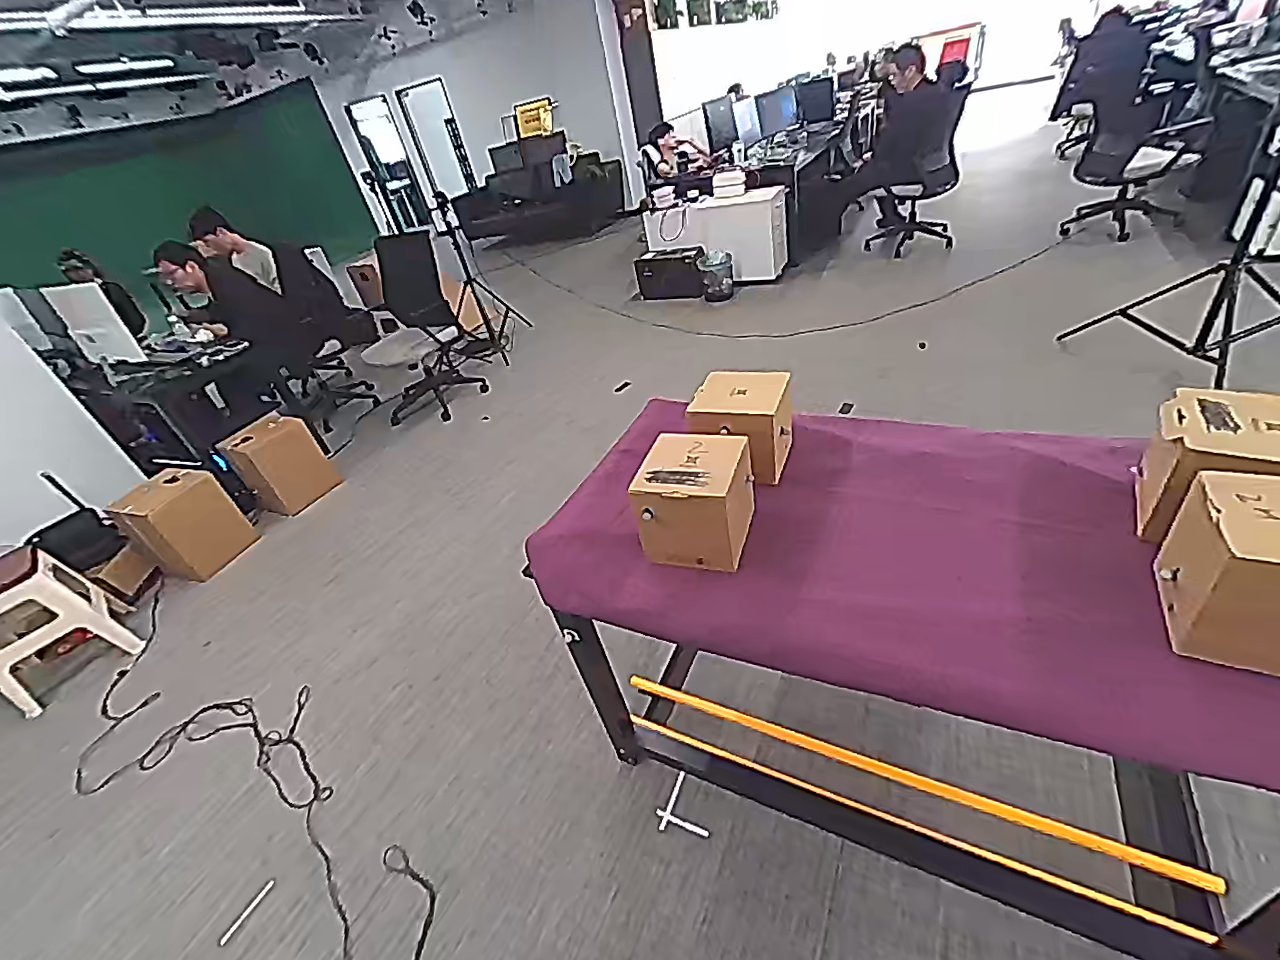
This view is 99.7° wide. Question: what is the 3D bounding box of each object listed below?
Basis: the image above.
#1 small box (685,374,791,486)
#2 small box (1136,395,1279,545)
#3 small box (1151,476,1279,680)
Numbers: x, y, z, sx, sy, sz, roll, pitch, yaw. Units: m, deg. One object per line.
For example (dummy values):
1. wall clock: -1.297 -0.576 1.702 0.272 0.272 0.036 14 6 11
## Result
1. small box: 0.212 -0.104 1.121 0.179 0.176 0.168 6 40 25
2. small box: 0.840 -0.001 0.766 0.179 0.176 0.168 14 45 32
3. small box: 0.750 0.119 0.632 0.179 0.176 0.168 9 39 30
